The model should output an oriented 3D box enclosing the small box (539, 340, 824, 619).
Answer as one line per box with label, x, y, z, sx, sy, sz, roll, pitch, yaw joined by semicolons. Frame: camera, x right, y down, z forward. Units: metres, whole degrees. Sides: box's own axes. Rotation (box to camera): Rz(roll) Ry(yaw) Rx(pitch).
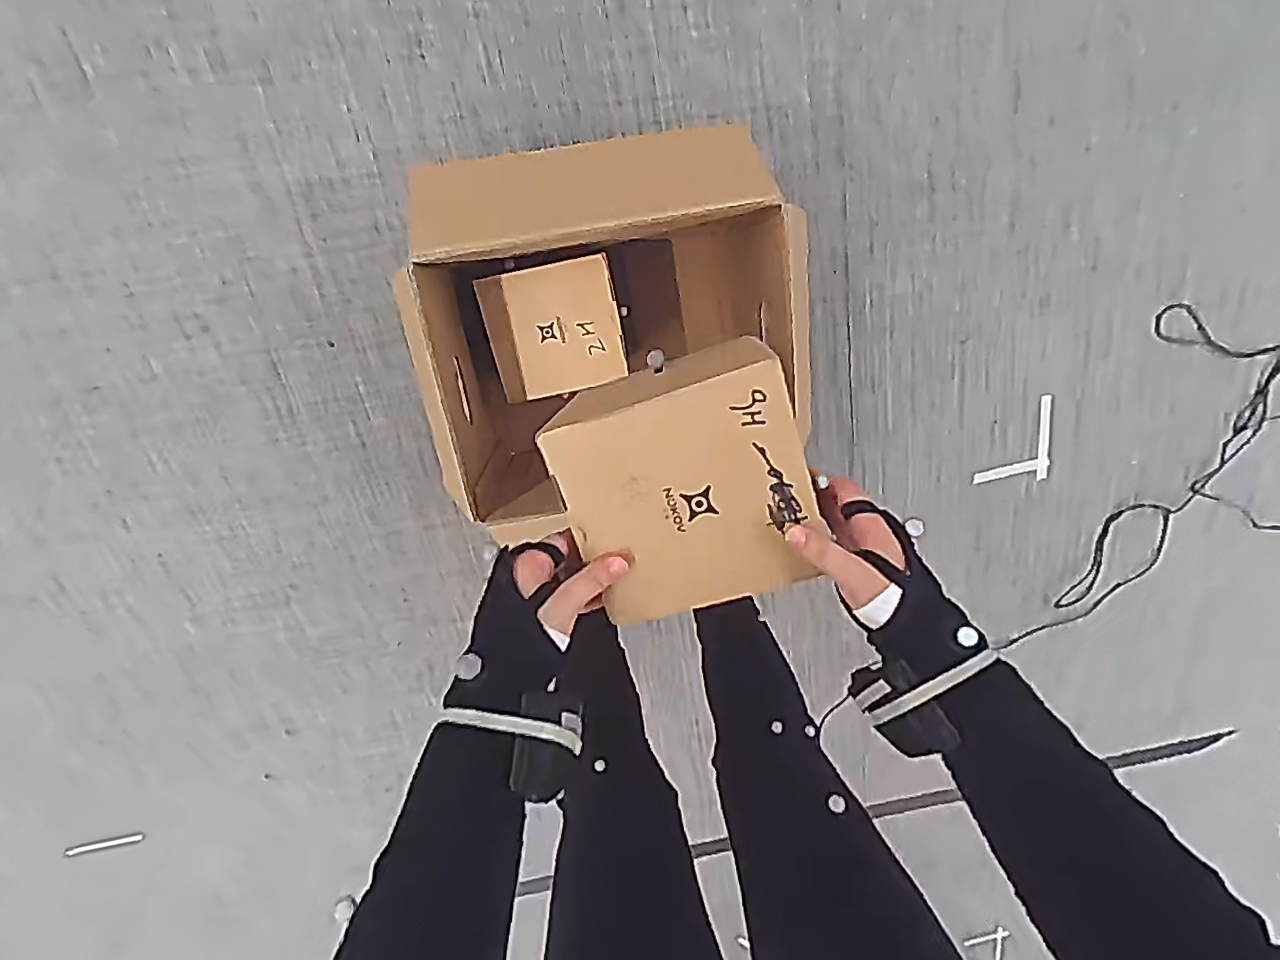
small box;0.040;-0.011;0.468;0.179;0.176;0.168;-16;109;11
